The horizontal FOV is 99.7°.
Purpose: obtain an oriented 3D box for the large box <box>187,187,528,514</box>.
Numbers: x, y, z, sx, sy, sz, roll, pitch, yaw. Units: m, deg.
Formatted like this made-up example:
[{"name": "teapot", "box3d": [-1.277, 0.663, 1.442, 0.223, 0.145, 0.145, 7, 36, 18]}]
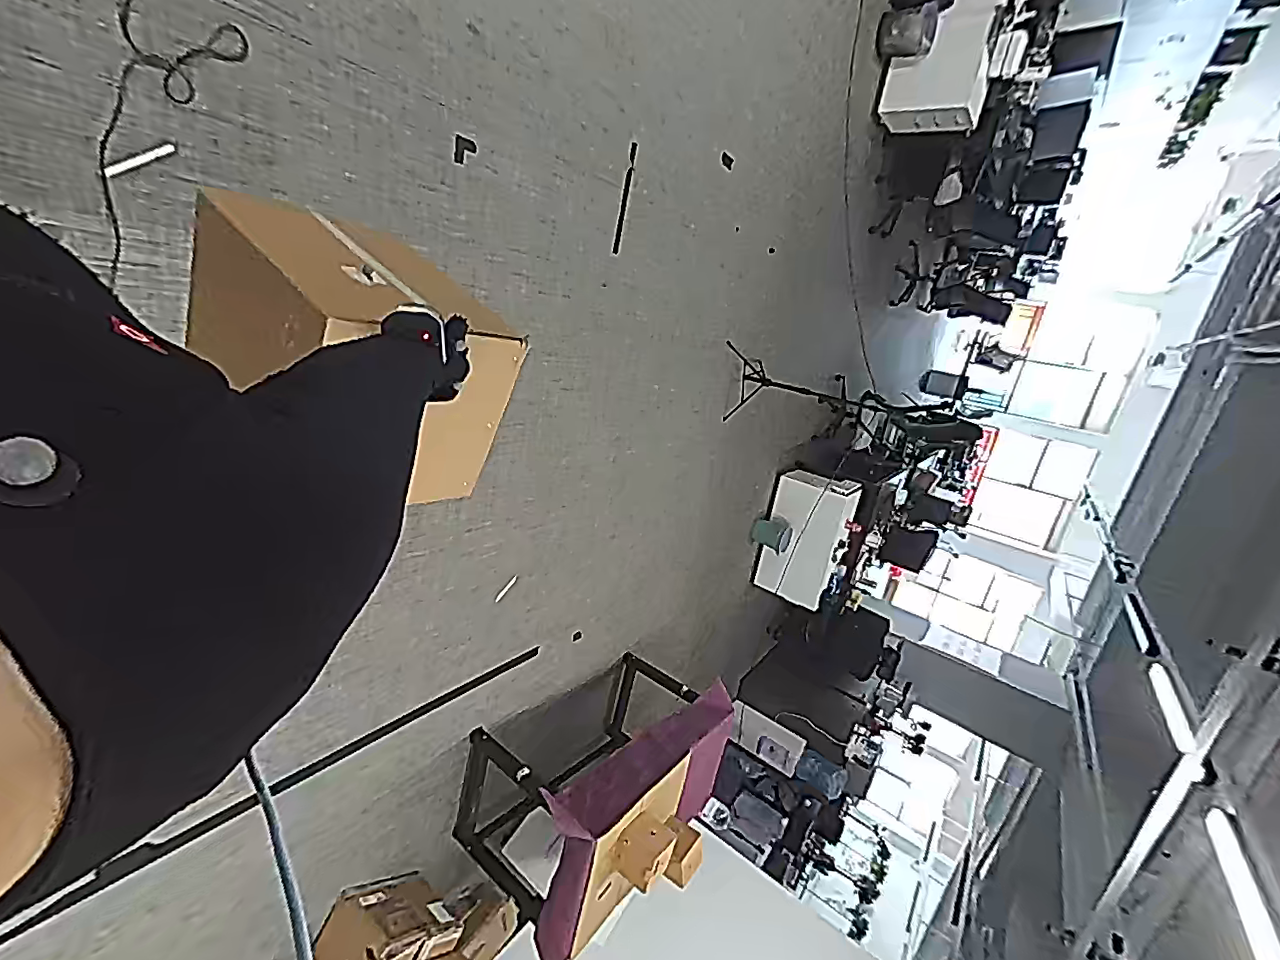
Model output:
[{"name": "large box", "box3d": [-0.471, -0.203, 0.890, 0.320, 0.408, 0.320, -12, 138, -55]}]
